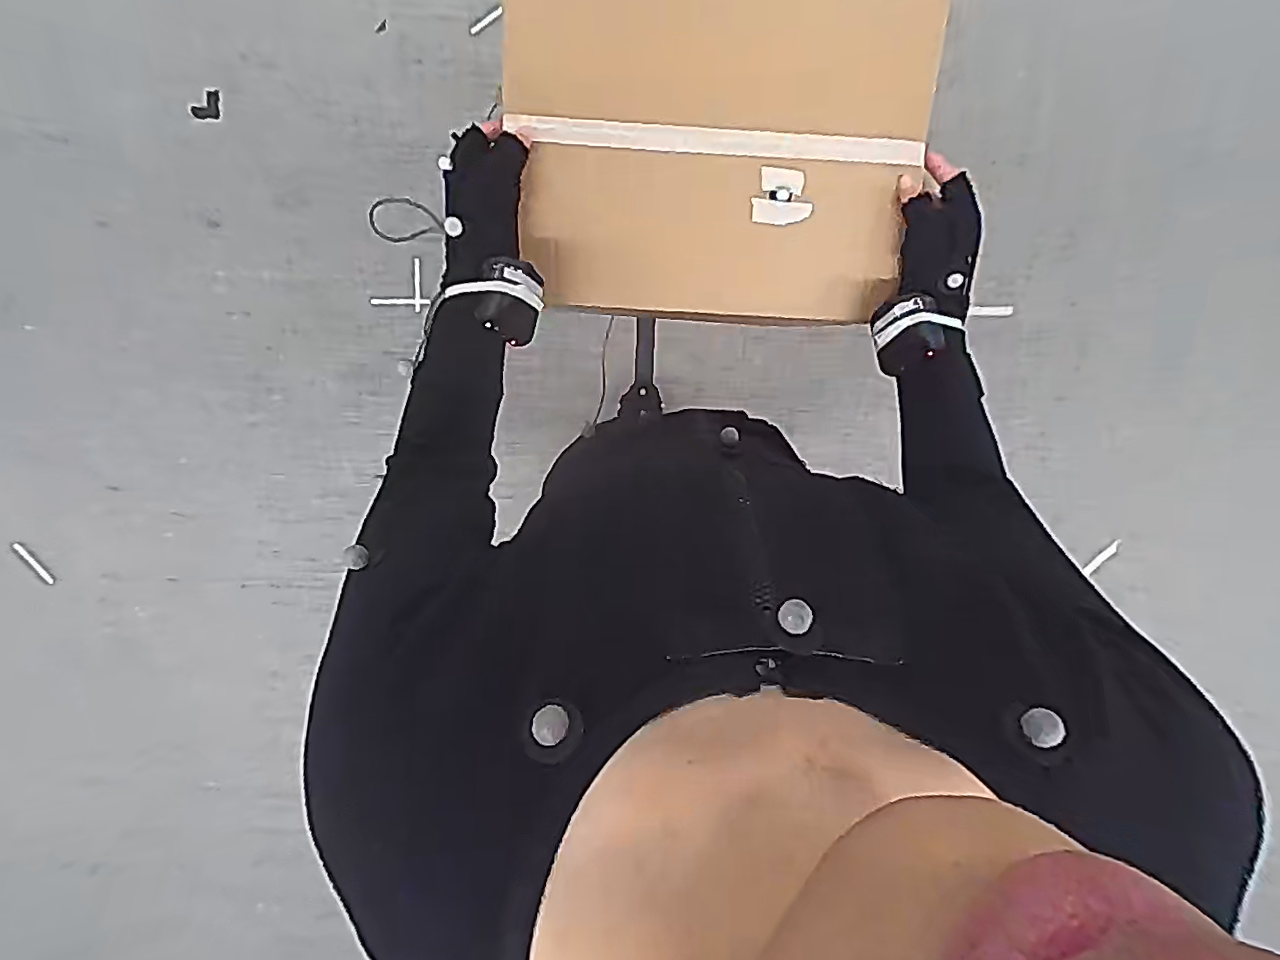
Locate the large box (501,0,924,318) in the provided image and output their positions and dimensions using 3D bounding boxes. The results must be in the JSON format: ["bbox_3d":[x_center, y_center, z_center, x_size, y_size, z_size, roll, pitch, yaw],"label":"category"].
[{"bbox_3d":[0.061,-0.372,0.676,0.408,0.320,0.320,1,106,-3],"label":"large box"}]
